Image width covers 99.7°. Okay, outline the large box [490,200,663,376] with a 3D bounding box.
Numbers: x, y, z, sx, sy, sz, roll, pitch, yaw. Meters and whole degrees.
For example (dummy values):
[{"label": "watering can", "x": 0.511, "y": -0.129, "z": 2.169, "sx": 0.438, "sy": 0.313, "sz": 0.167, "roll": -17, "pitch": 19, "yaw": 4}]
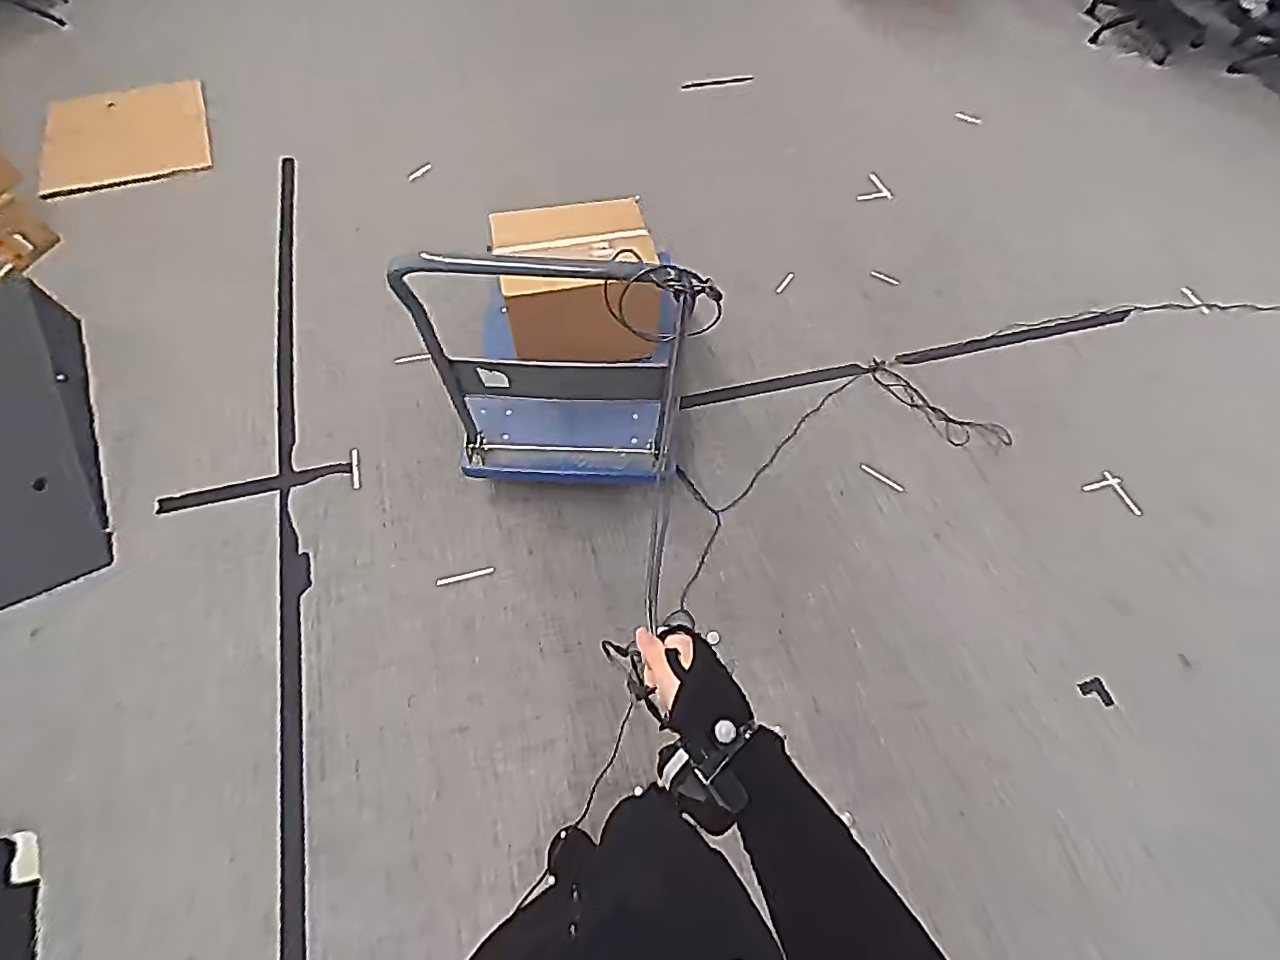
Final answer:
[{"label": "large box", "x": -0.177, "y": -0.533, "z": 1.521, "sx": 0.408, "sy": 0.320, "sz": 0.320, "roll": -11, "pitch": 64, "yaw": -9}]
